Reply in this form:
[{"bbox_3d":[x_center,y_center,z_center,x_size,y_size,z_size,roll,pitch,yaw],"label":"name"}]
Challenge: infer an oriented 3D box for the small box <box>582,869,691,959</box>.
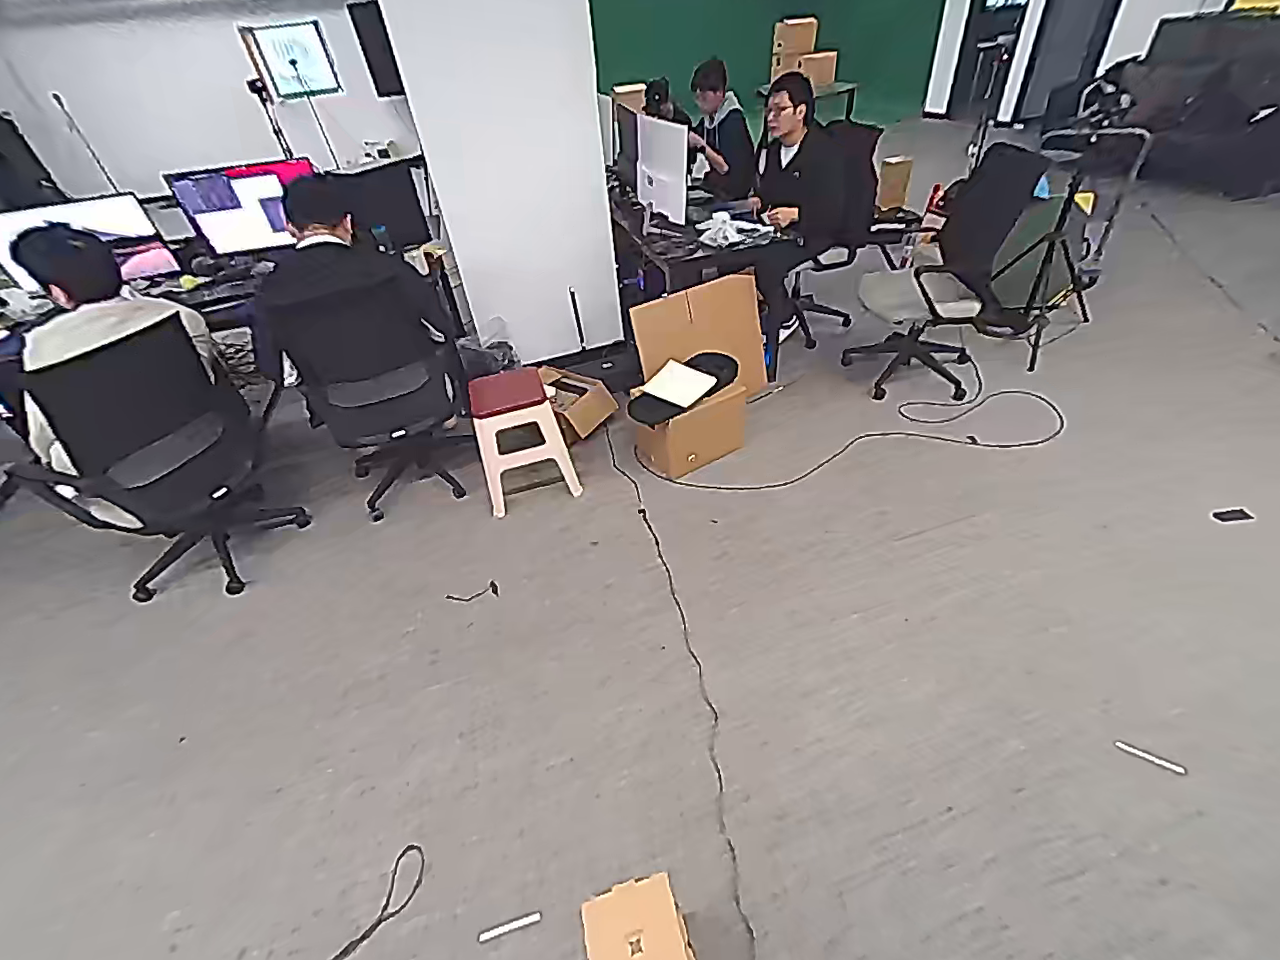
[{"bbox_3d":[0.002,0.853,0.979,0.168,0.176,0.179,-16,42,-7],"label":"small box"}]
